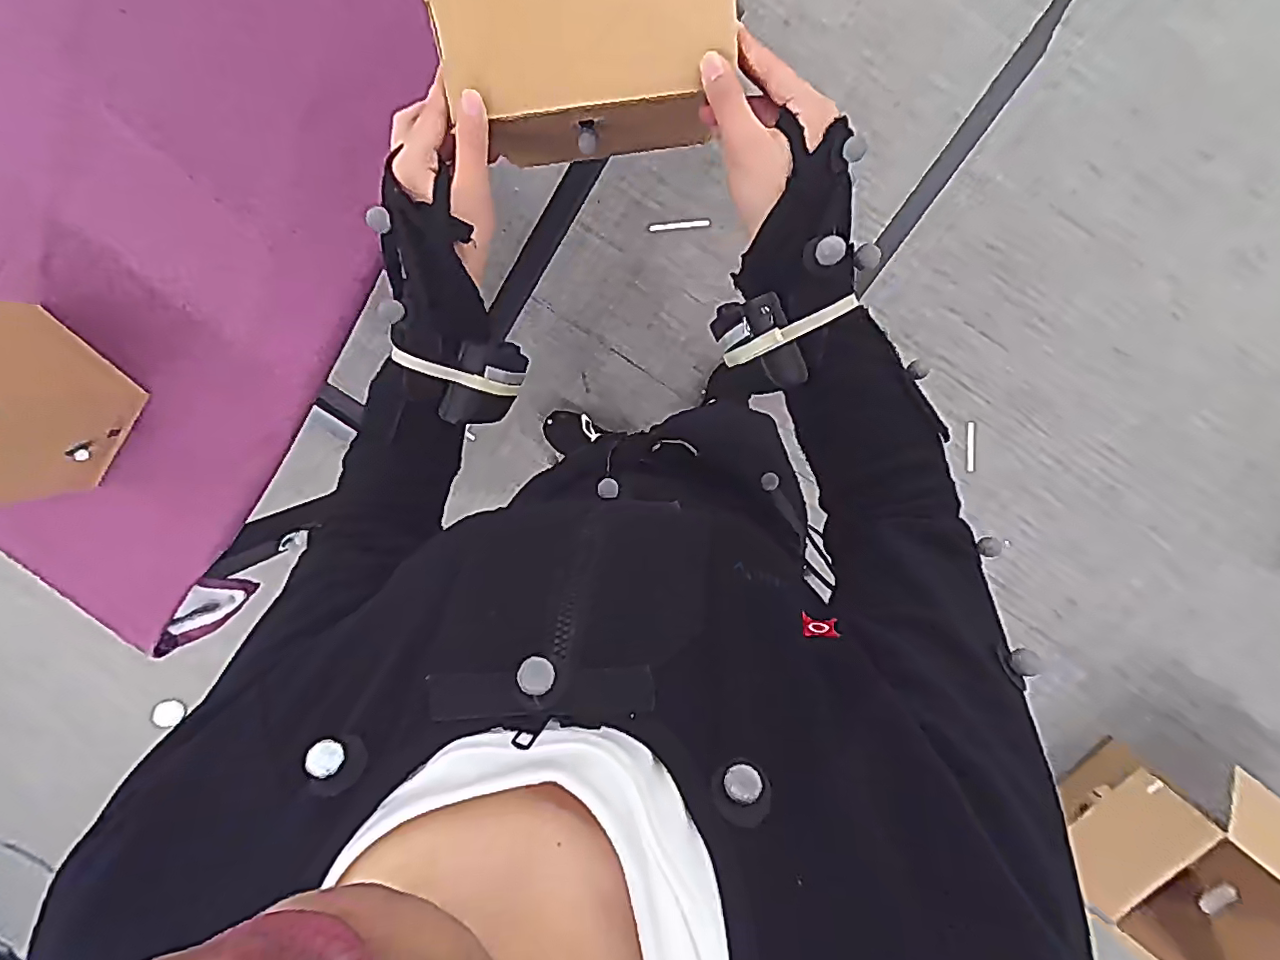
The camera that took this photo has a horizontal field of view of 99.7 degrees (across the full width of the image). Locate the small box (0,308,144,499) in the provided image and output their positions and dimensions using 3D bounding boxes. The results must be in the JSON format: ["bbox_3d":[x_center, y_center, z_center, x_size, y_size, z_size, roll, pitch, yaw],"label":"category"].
[{"bbox_3d":[-0.747,-0.087,0.618,0.179,0.176,0.168,41,103,-3],"label":"small box"}]
